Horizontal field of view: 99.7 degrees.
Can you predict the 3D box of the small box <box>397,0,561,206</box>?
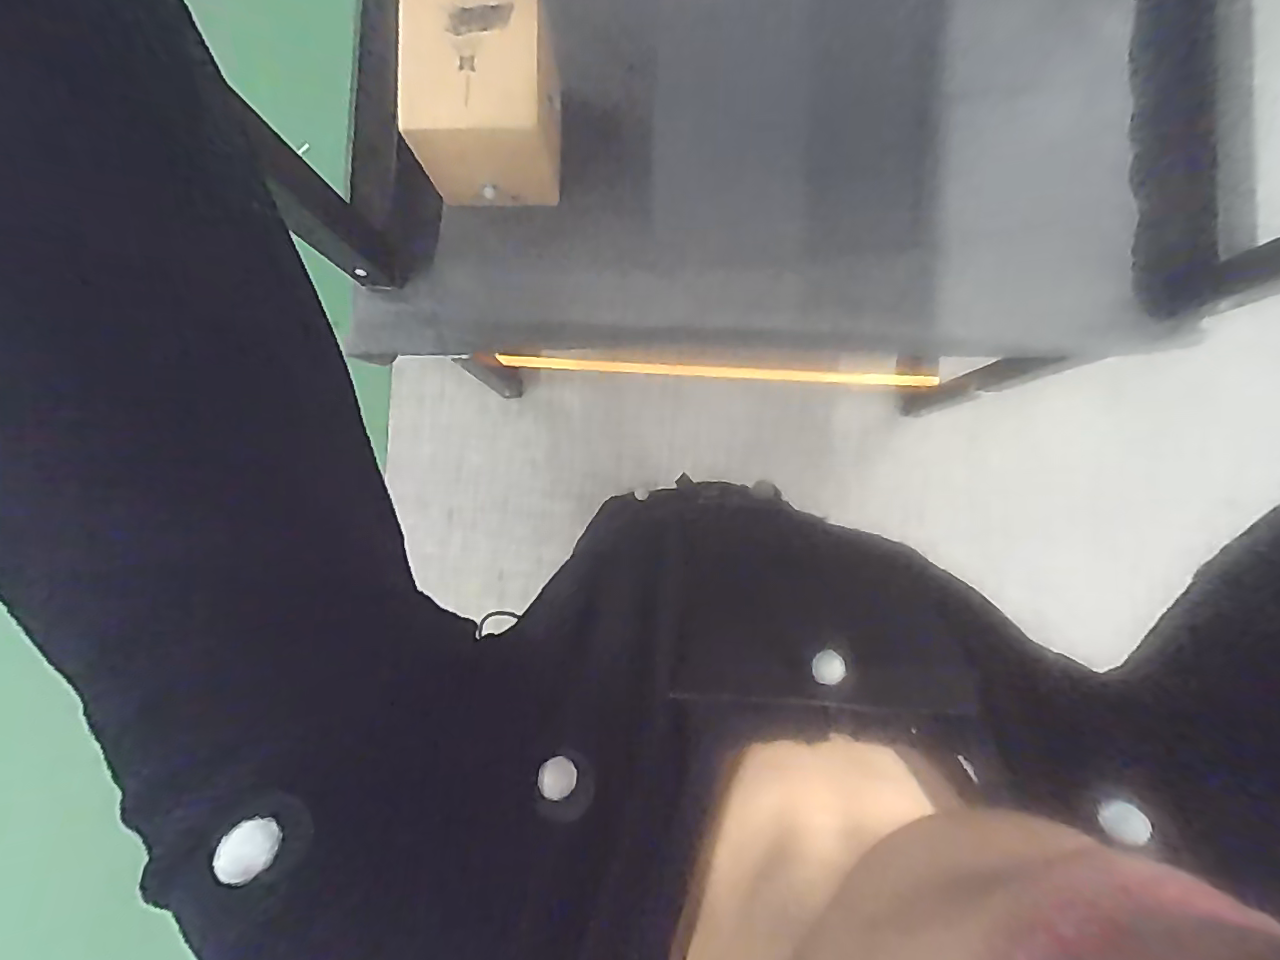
[{"bbox_3d":[-0.200,-0.492,0.713,0.168,0.176,0.179,0,88,1],"label":"small box"}]
